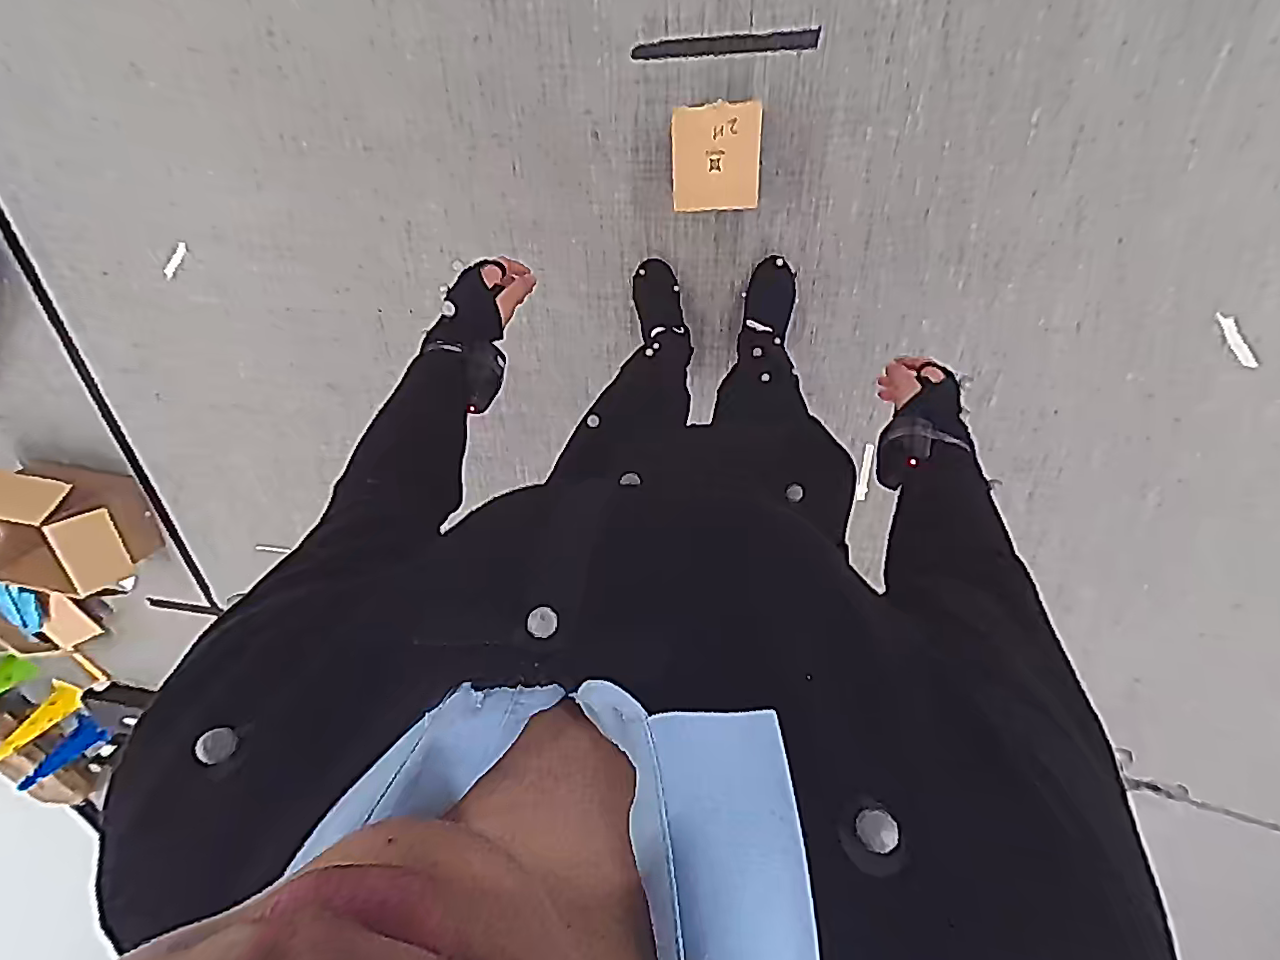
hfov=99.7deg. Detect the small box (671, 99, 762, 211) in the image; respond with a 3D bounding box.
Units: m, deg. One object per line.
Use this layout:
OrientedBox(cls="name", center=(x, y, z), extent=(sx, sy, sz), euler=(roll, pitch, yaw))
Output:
OrientedBox(cls="small box", center=(0.154, -0.645, 1.080), extent=(0.168, 0.176, 0.179), euler=(2, 120, 10))
